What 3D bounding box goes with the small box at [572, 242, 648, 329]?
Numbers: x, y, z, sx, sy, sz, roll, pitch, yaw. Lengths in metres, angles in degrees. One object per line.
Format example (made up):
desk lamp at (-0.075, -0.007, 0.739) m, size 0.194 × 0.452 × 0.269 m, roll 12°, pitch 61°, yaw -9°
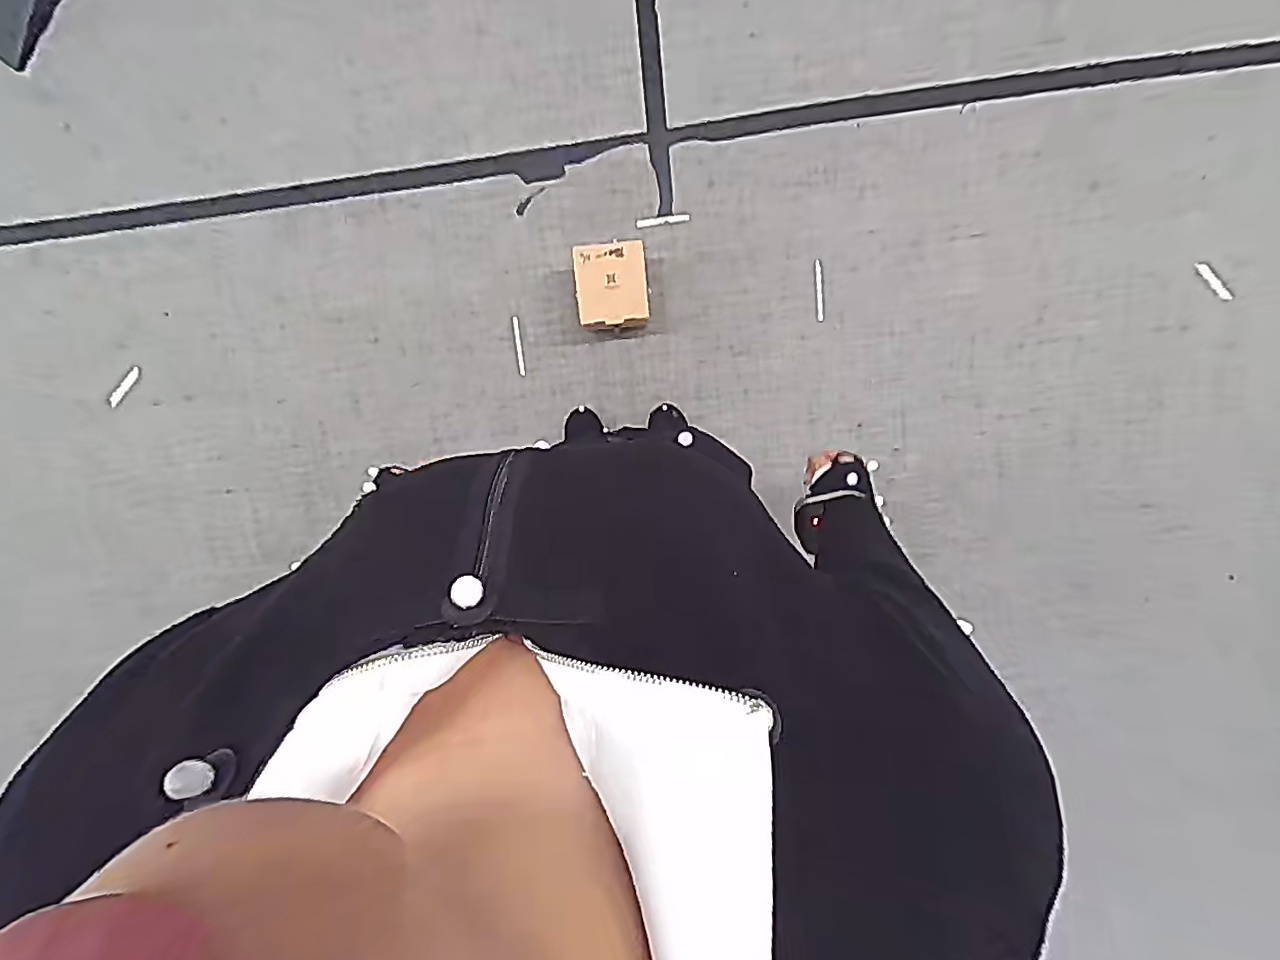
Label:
small box at (-0.067, -0.468, 1.327) m, size 0.168 × 0.176 × 0.179 m, roll -5°, pitch 100°, yaw 2°
